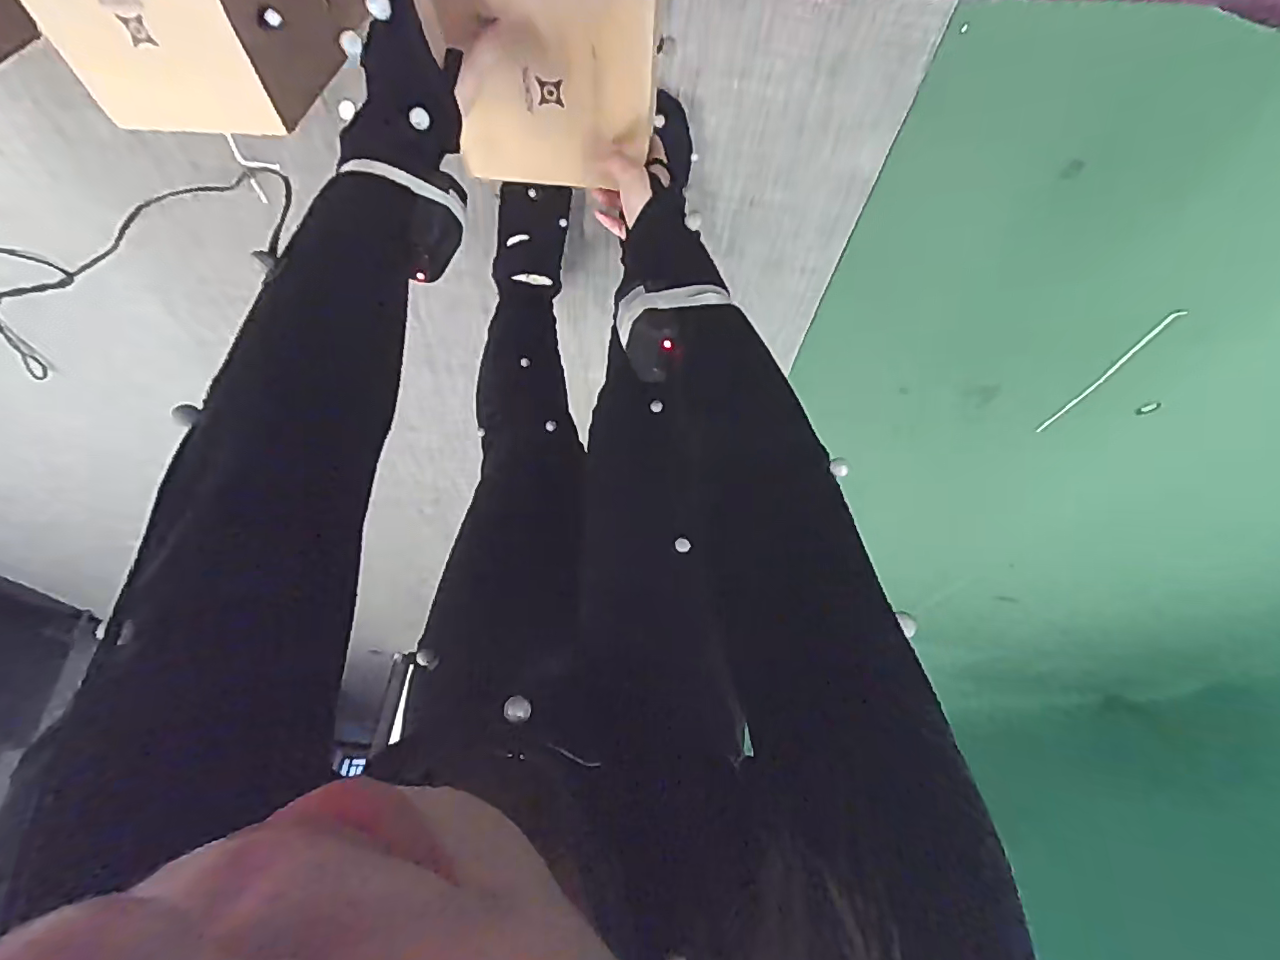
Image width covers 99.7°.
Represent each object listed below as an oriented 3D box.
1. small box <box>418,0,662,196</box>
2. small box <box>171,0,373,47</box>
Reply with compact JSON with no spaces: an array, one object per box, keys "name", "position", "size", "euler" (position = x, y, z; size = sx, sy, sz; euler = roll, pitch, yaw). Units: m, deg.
[{"name":"small box","position":[-0.074,-0.394,0.488],"size":[0.179,0.176,0.168],"euler":[6,155,0]},{"name":"small box","position":[-0.397,-0.592,0.565],"size":[0.179,0.176,0.168],"euler":[4,149,-1]}]
